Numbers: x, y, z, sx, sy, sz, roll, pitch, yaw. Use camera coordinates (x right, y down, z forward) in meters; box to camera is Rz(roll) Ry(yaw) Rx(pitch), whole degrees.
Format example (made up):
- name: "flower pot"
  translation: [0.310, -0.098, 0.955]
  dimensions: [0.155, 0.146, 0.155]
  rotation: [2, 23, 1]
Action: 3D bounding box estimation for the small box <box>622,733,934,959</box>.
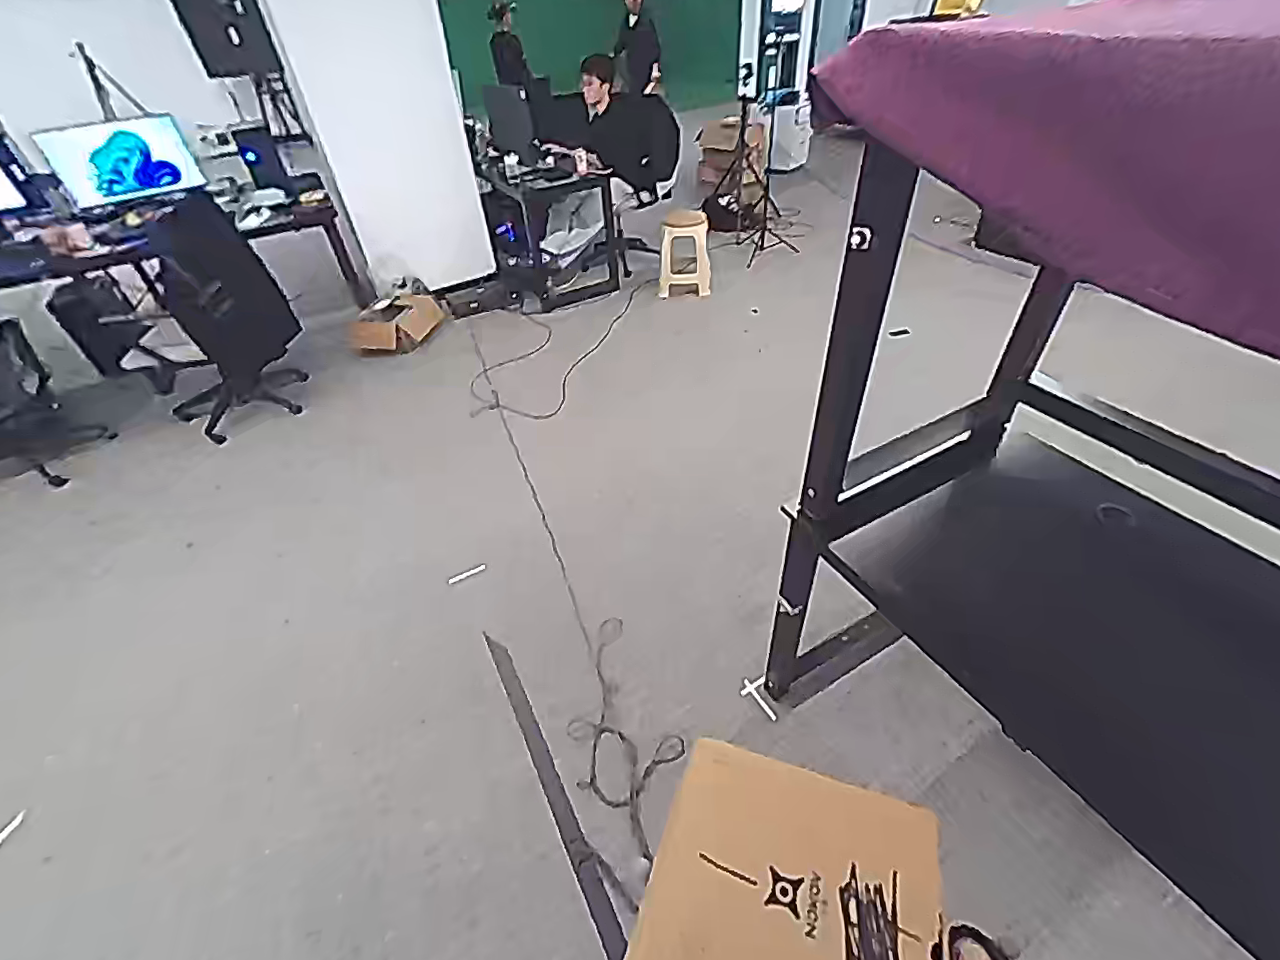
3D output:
- name: "small box"
  translation: [0.093, 0.329, 0.404]
  dimensions: [0.179, 0.176, 0.168]
  rotation: [18, 44, 11]
